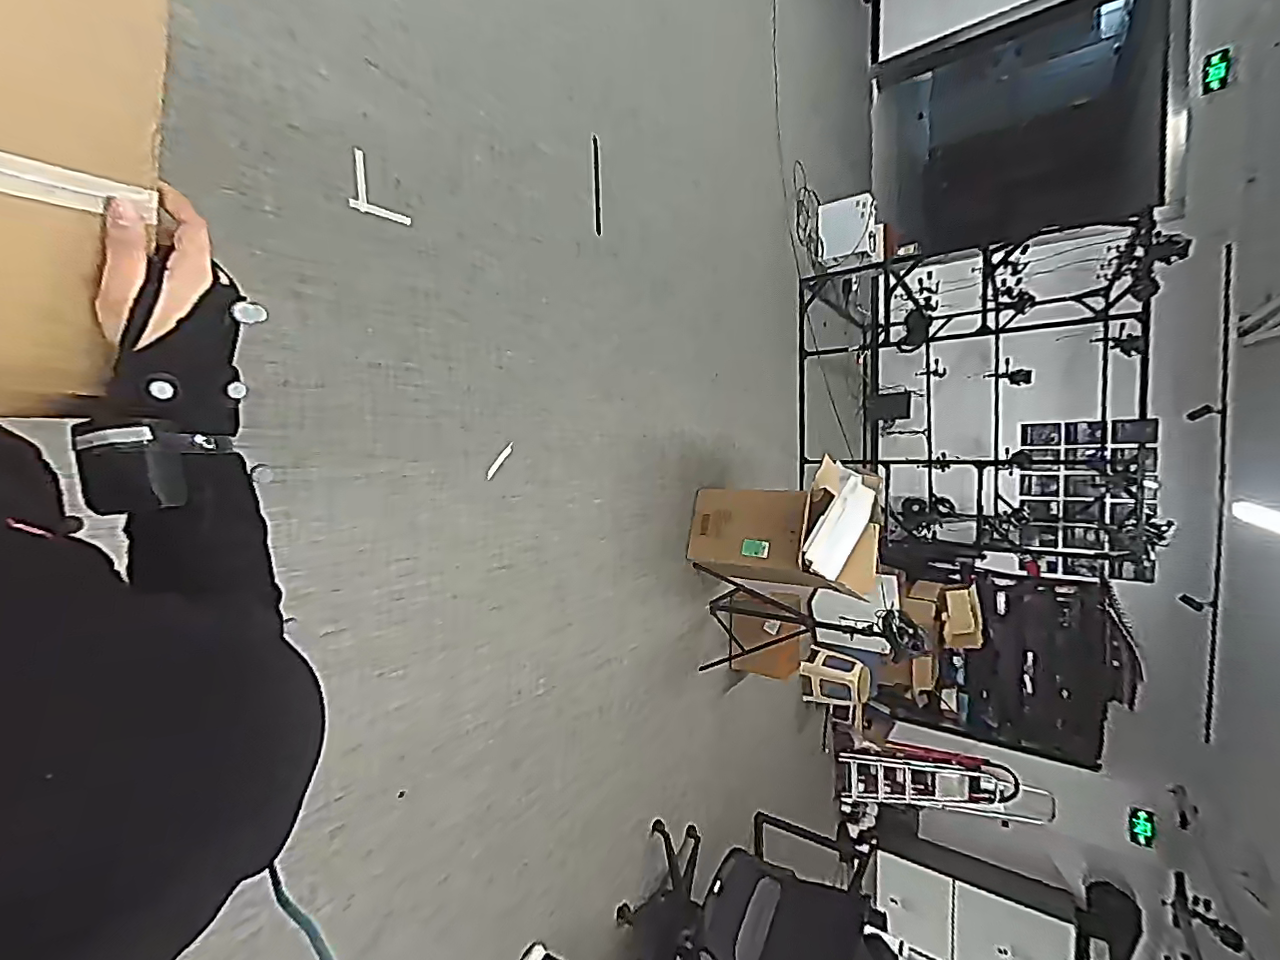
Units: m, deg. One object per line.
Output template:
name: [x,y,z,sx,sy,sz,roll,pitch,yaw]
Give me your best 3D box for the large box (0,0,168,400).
large box: [-0.538,-0.250,0.257,0.408,0.320,0.320,-9,134,-54]
